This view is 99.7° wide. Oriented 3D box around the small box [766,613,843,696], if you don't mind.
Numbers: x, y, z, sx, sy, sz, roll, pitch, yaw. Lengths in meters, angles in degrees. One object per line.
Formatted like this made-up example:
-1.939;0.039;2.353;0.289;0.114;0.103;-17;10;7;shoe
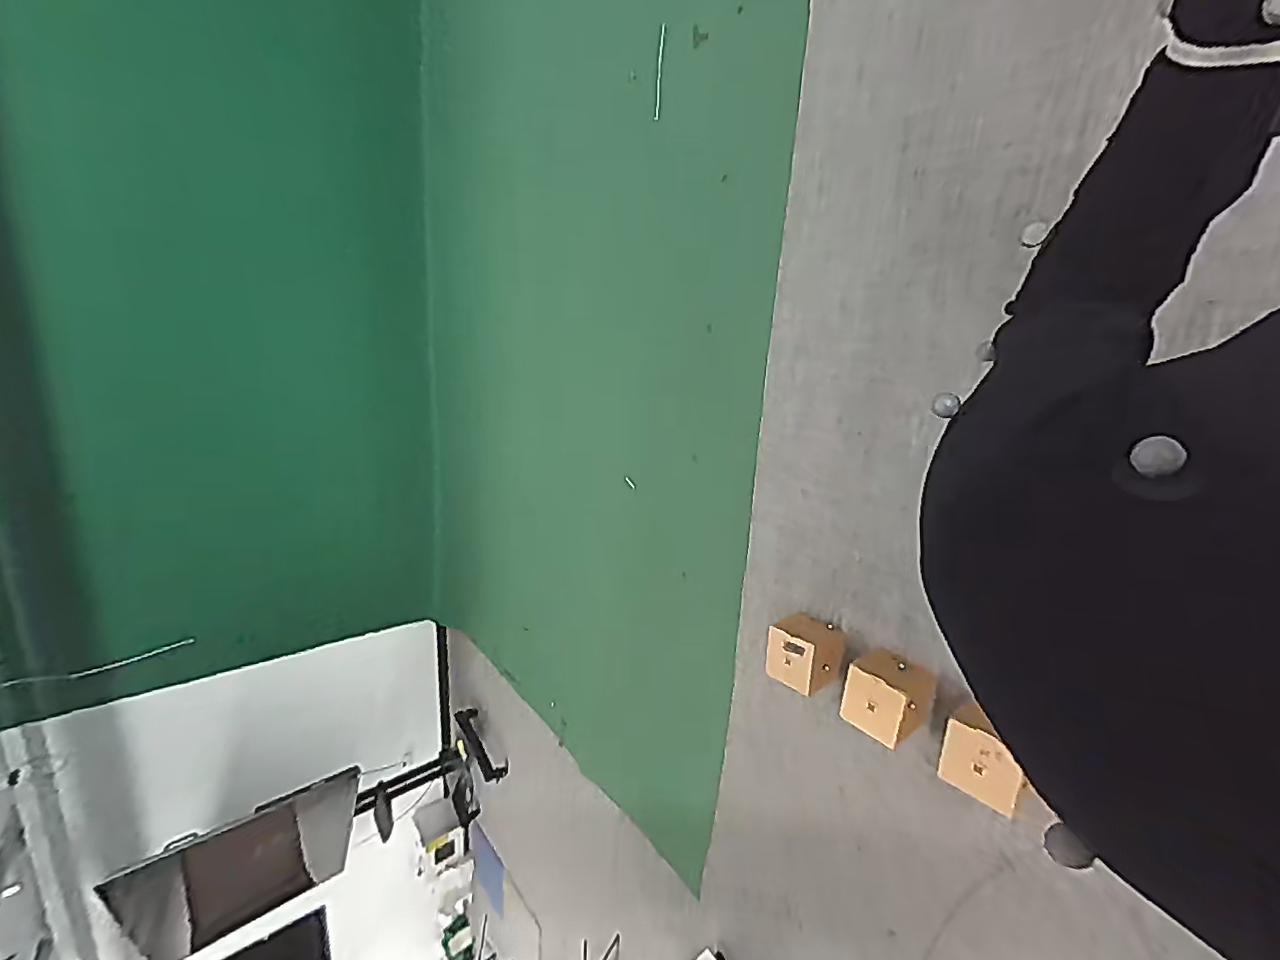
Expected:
0.528;0.547;1.724;0.168;0.176;0.179;17;109;49;small box

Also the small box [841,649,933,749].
0.698;0.608;1.525;0.168;0.176;0.179;22;112;48;small box

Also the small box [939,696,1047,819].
0.865;0.668;1.323;0.168;0.176;0.179;18;109;47;small box
